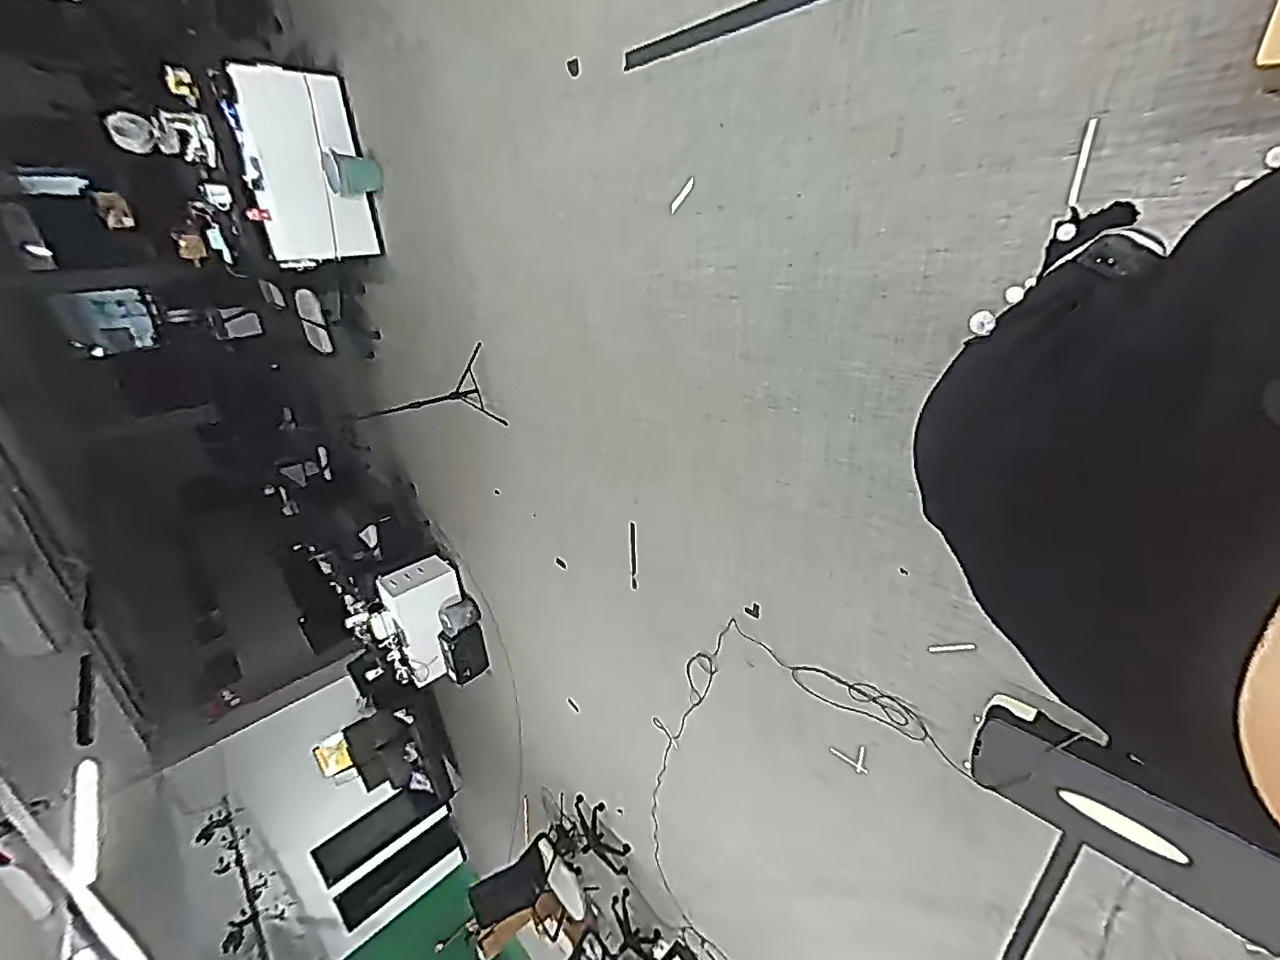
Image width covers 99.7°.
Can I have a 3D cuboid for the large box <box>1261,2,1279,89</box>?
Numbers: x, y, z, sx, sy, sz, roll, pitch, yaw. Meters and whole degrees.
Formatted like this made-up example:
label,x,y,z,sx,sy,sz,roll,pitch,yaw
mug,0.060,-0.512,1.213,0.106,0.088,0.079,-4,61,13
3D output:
label,x,y,z,sx,sy,sz,roll,pitch,yaw
large box,1.053,-0.686,0.613,0.408,0.320,0.320,21,125,41
